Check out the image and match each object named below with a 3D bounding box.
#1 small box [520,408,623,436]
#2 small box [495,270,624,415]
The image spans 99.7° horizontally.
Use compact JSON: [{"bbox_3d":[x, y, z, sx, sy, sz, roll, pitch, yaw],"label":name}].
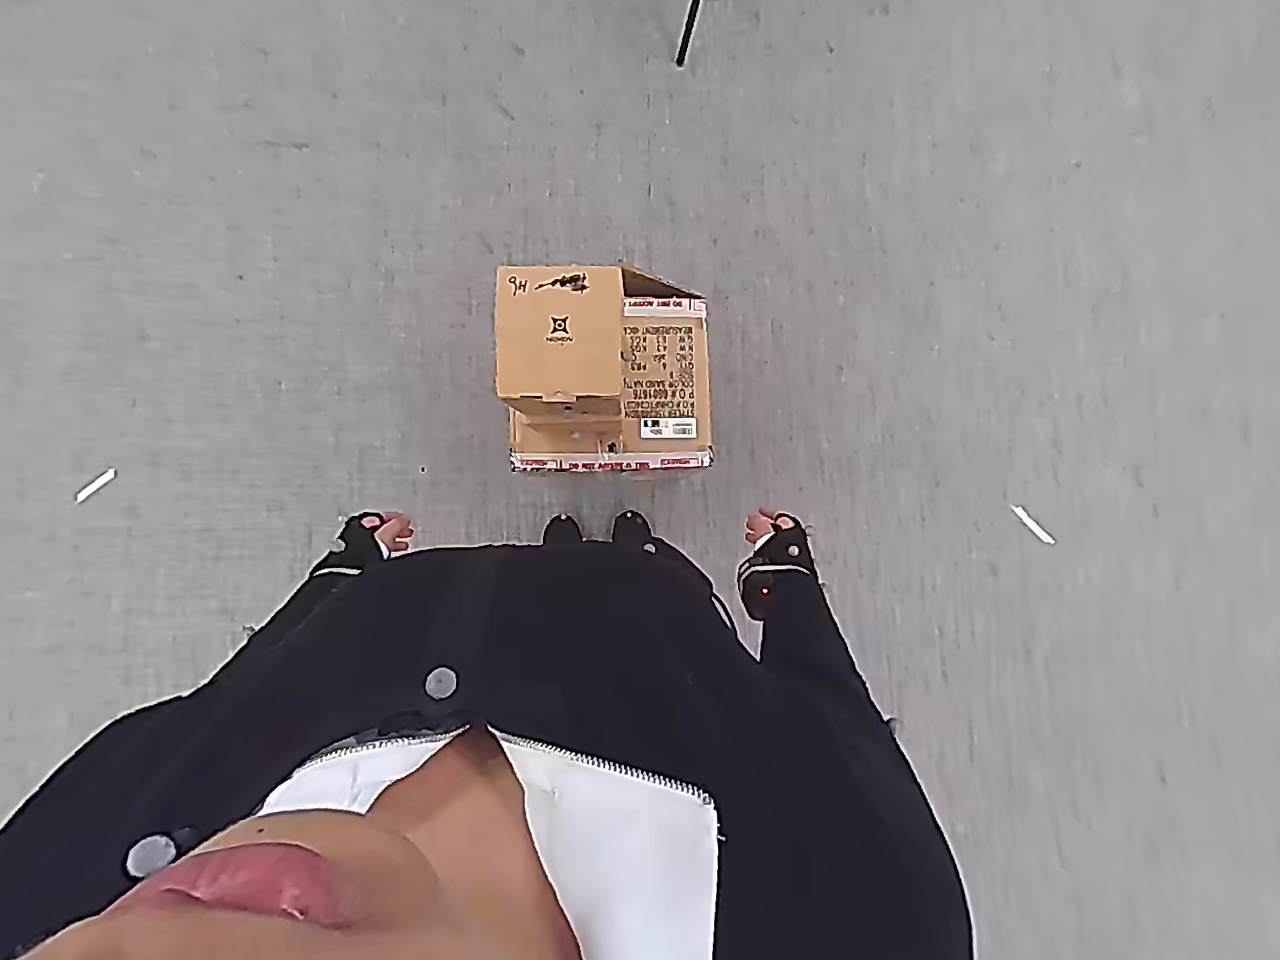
[{"bbox_3d":[-0.115,-0.173,0.949,0.168,0.176,0.179,-2,90,-1],"label":"small box"},{"bbox_3d":[-0.108,-0.189,0.785,0.168,0.176,0.179,0,90,-1],"label":"small box"}]
